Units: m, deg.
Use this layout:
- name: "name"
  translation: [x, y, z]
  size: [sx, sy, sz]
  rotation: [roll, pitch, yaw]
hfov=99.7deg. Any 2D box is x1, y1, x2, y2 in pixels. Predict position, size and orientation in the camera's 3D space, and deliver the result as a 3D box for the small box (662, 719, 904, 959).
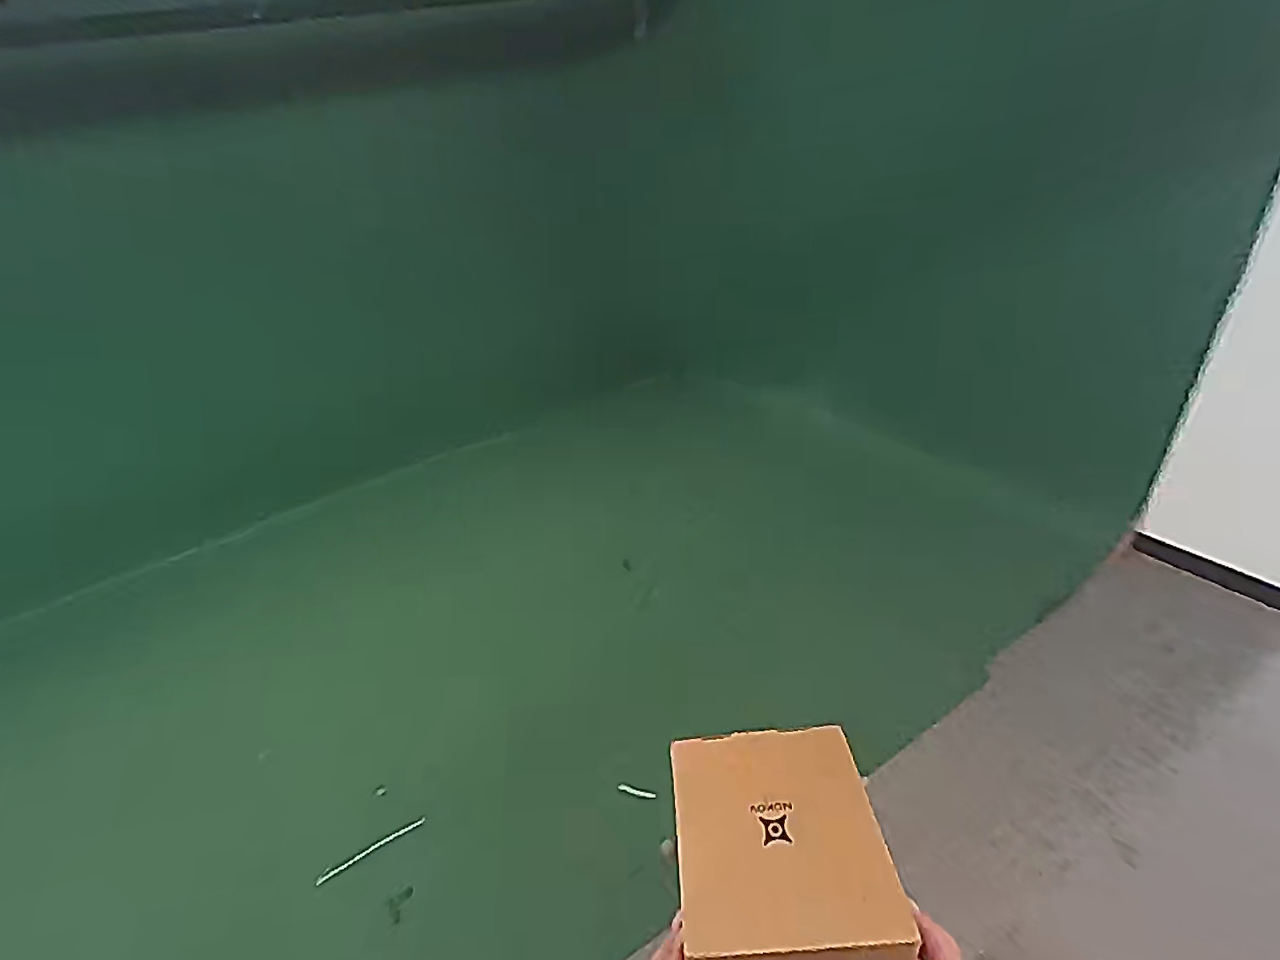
- name: "small box"
  translation: [0.113, 0.348, 0.480]
  size: [0.168, 0.176, 0.179]
  rotation: [-7, 26, 3]
